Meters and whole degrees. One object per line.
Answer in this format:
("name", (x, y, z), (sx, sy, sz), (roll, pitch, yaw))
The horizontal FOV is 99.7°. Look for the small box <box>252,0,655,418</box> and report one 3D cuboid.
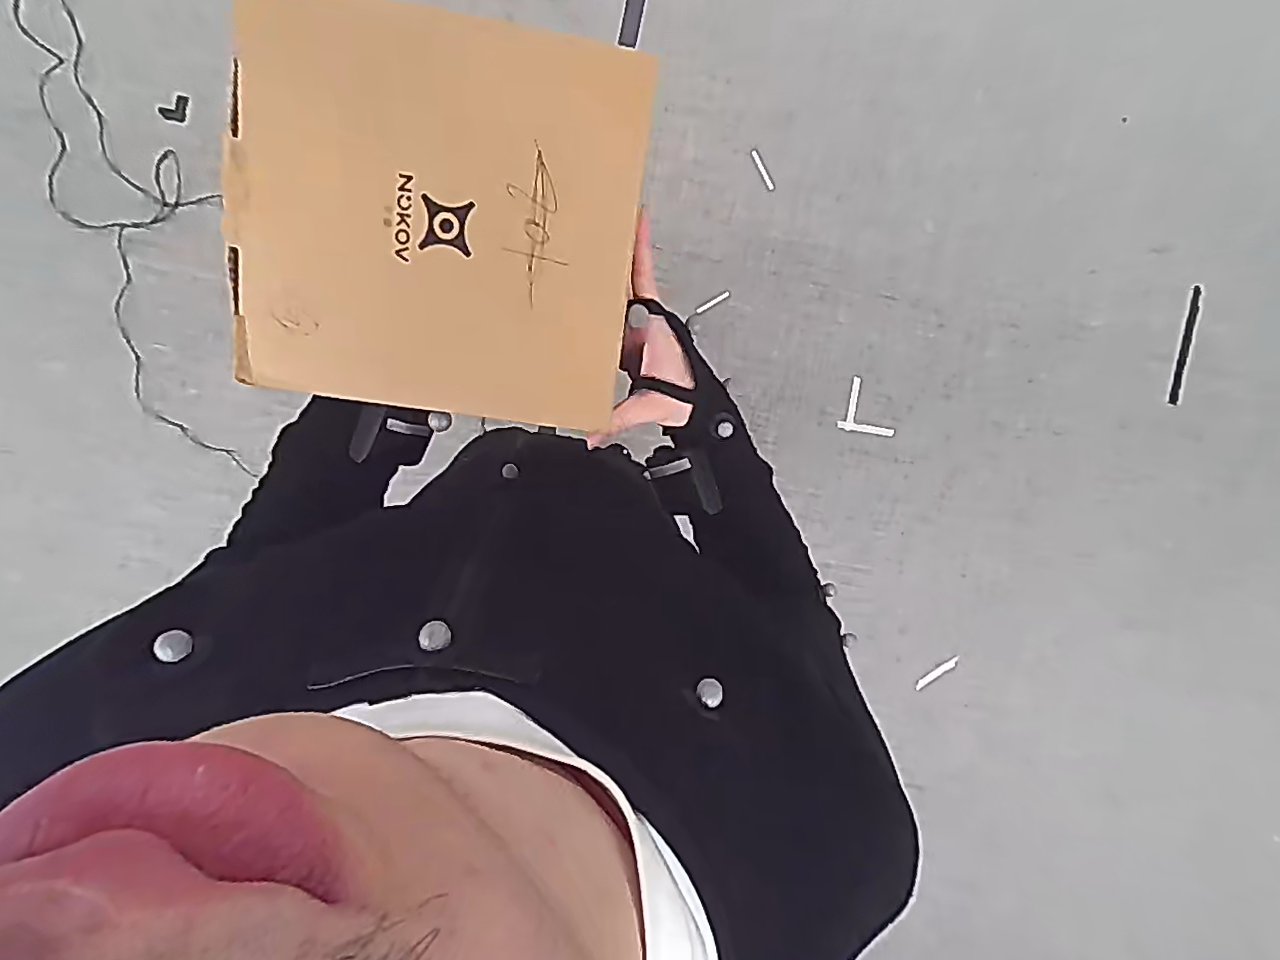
("small box", (-0.094, -0.136, 0.330), (0.179, 0.176, 0.168), (7, 102, -6))
